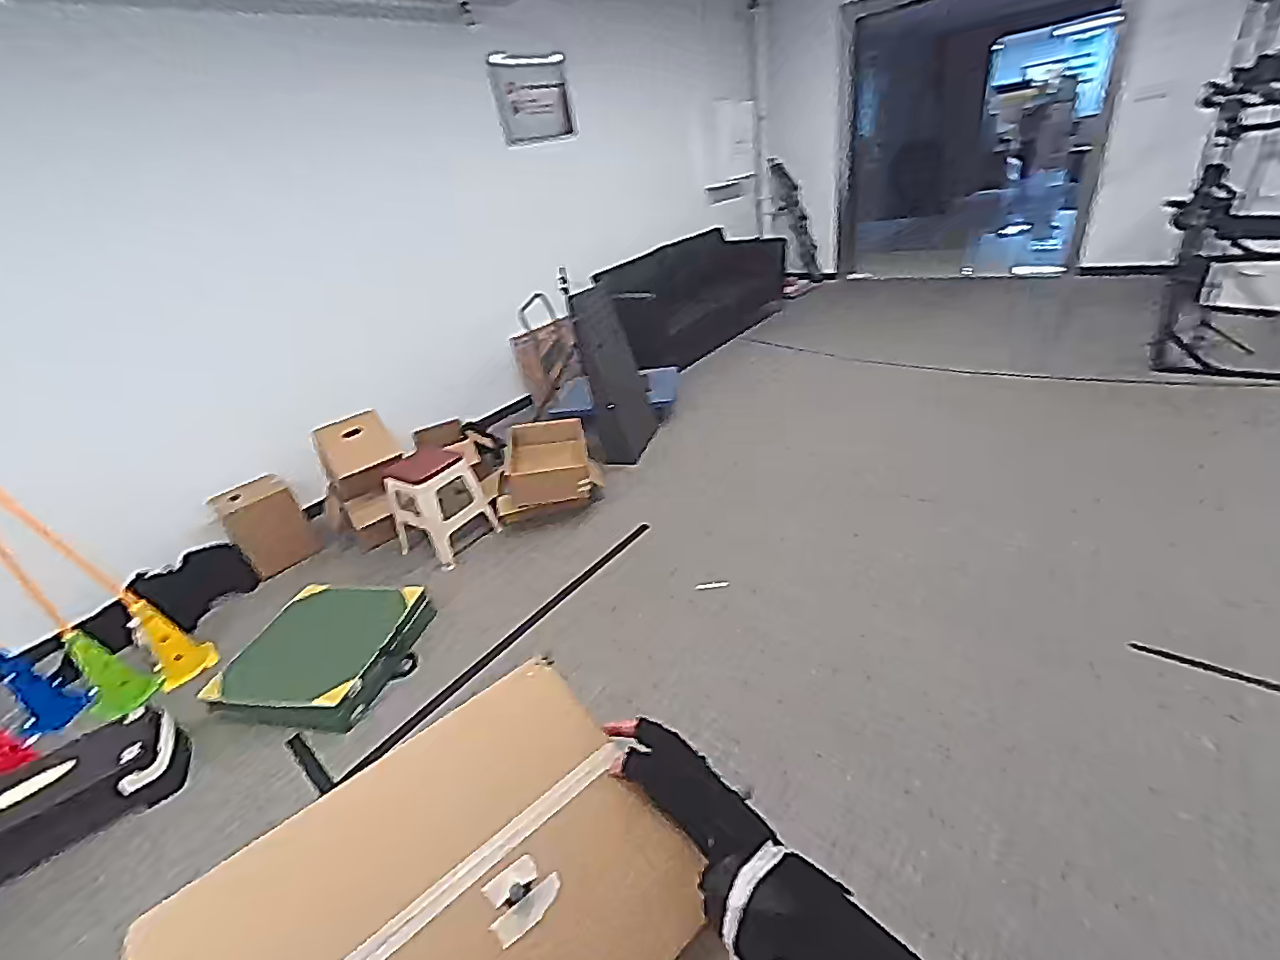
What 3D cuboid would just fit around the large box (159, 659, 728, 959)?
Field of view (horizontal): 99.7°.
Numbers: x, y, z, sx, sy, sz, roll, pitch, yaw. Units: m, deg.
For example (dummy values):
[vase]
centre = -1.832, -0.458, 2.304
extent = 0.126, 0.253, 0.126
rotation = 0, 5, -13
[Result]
[large box]
centre = -0.159, 0.482, 0.548
extent = 0.408, 0.320, 0.320
rotation = -27, 42, -29
